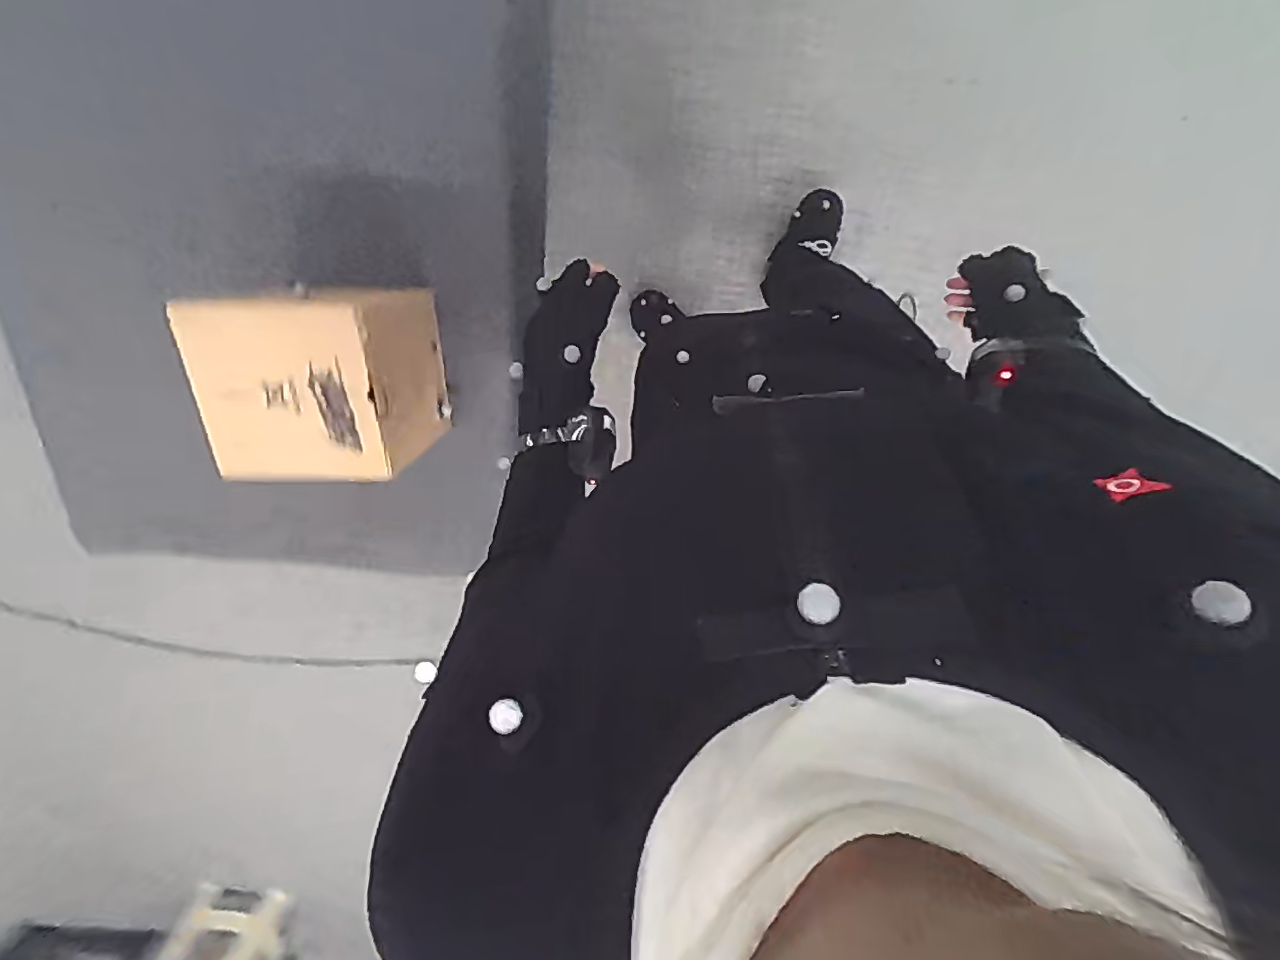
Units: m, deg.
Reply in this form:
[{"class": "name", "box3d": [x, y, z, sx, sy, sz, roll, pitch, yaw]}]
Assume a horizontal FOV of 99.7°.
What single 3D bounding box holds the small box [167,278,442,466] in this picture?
[{"class": "small box", "box3d": [-0.328, -0.123, 0.577, 0.179, 0.176, 0.168, 2, 114, 3]}]
